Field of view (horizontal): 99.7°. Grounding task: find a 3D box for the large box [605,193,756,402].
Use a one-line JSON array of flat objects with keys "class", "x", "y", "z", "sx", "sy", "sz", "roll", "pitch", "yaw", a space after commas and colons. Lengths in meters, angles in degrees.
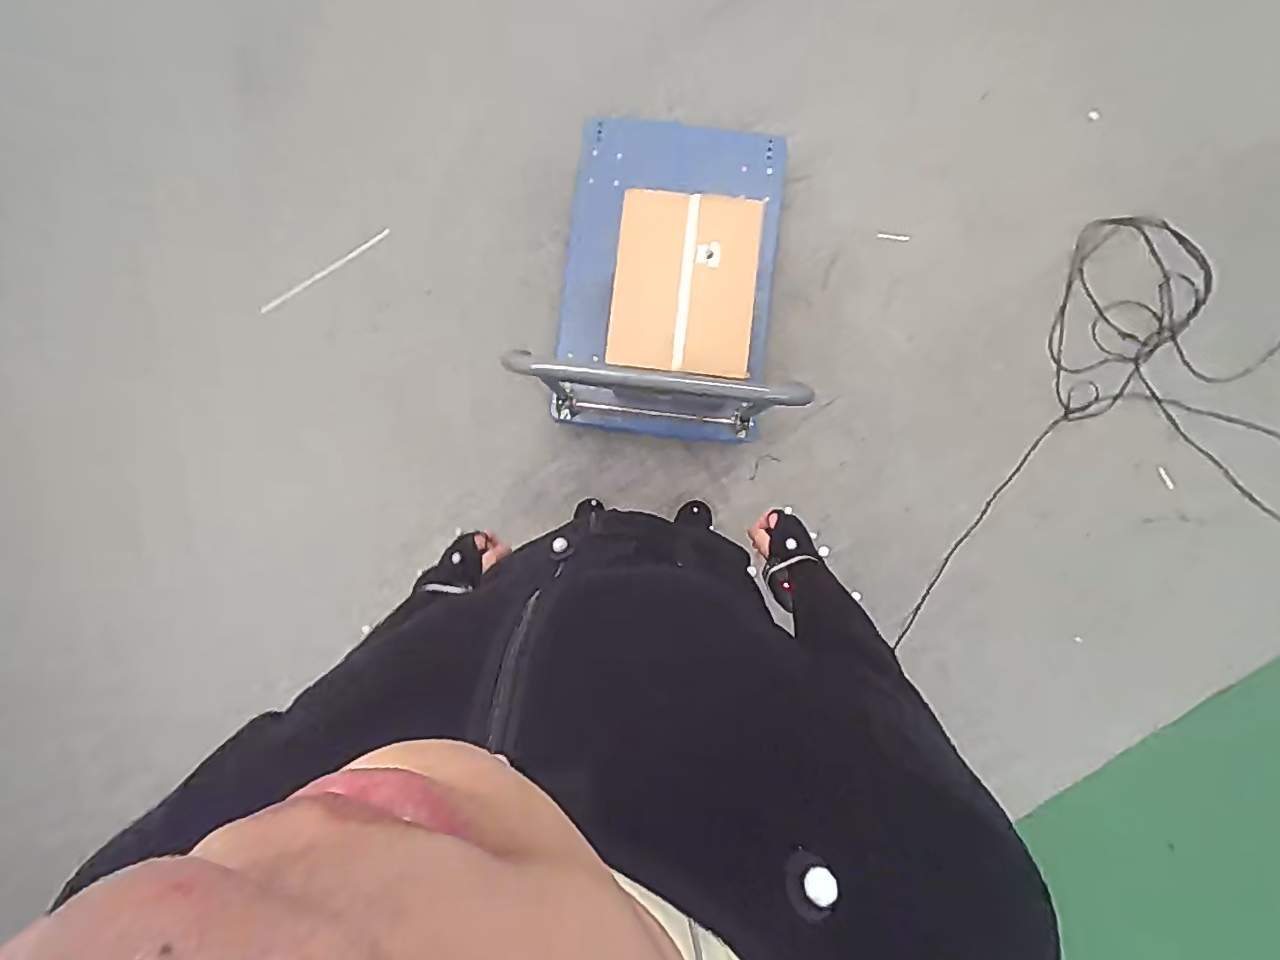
[{"class": "large box", "x": 0.095, "y": -0.431, "z": 1.359, "sx": 0.320, "sy": 0.320, "sz": 0.408, "roll": 6, "pitch": 87, "yaw": 0}]
